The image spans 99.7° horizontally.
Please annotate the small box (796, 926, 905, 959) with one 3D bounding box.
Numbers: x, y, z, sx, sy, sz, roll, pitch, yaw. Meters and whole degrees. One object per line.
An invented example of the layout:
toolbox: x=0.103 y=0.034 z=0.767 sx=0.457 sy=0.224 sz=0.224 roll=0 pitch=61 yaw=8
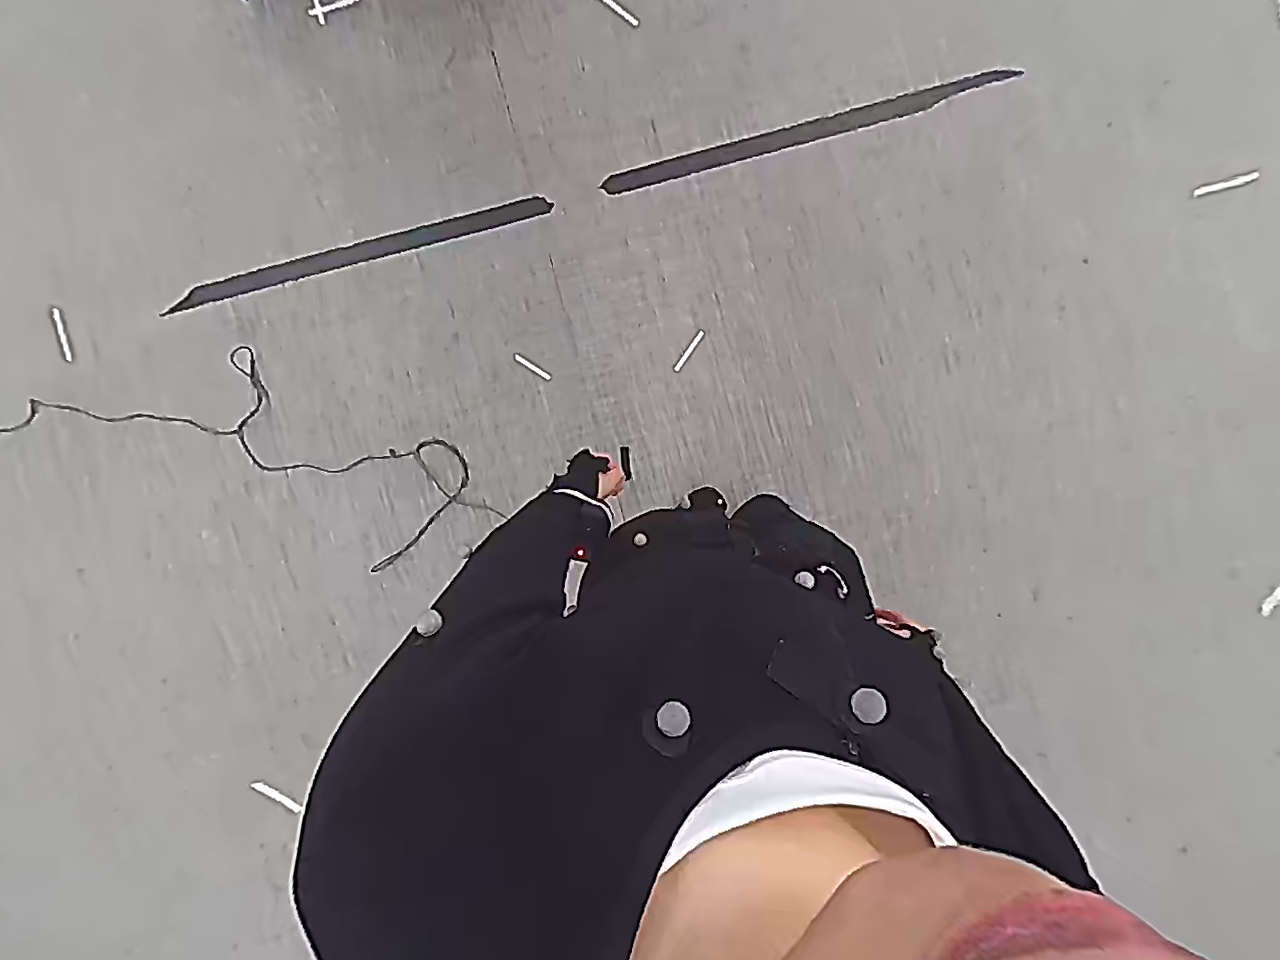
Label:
small box: x=0.348 y=0.841 z=0.825 sx=0.179 sy=0.176 sz=0.168 roll=-15 pitch=91 yaw=-1
